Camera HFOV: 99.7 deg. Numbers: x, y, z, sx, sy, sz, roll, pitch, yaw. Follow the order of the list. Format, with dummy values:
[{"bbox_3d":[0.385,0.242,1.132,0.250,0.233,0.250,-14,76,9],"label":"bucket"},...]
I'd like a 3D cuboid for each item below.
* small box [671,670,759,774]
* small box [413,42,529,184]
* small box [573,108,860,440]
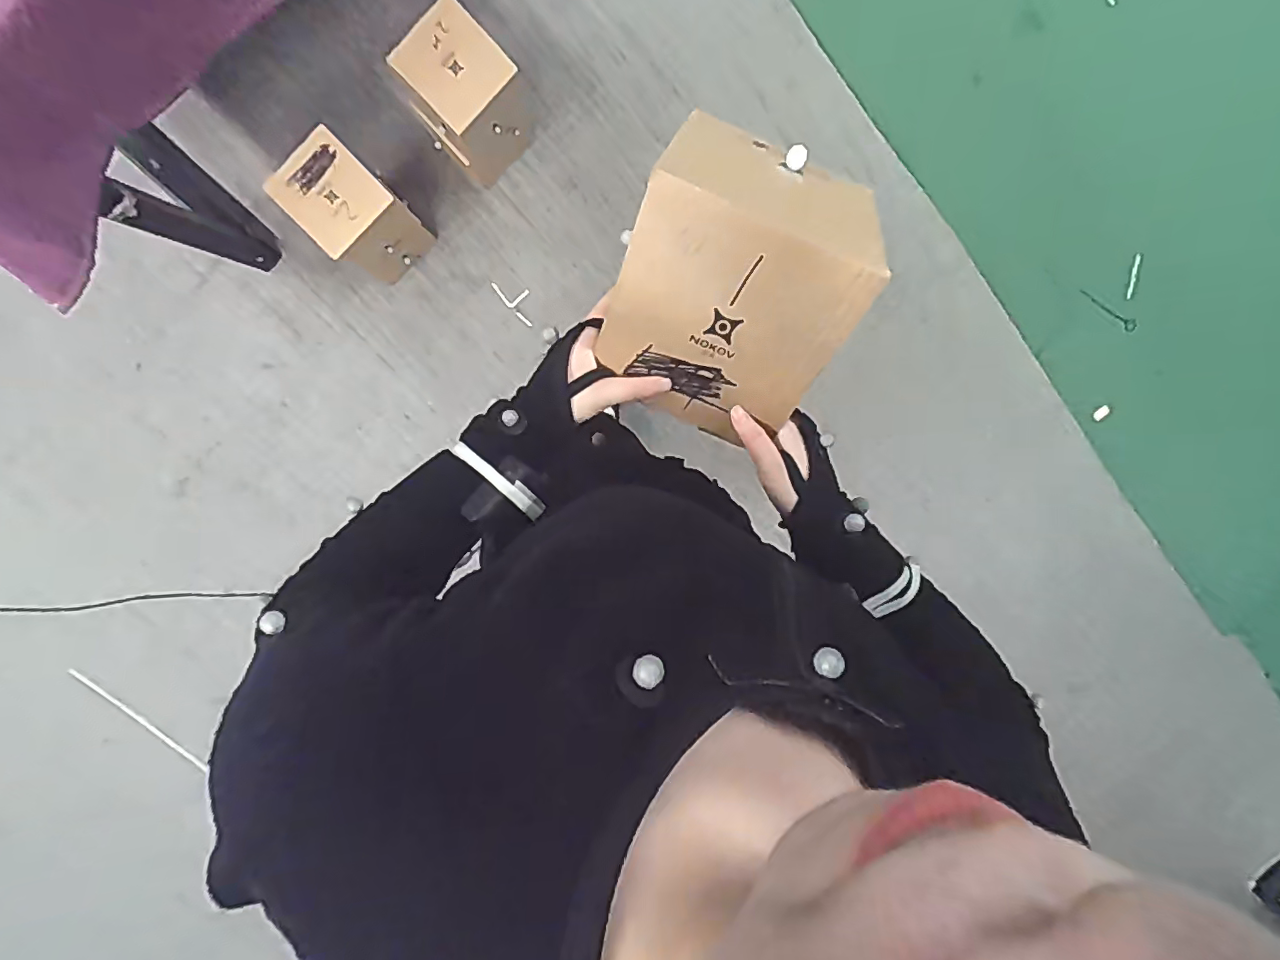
[{"bbox_3d":[0.209,0.688,1.559,0.179,0.176,0.168,-45,100,5],"label":"small box"},{"bbox_3d":[-0.371,-0.817,1.228,0.179,0.176,0.168,-43,101,4],"label":"small box"},{"bbox_3d":[0.062,-0.173,0.458,0.168,0.176,0.179,23,136,-5],"label":"small box"}]
